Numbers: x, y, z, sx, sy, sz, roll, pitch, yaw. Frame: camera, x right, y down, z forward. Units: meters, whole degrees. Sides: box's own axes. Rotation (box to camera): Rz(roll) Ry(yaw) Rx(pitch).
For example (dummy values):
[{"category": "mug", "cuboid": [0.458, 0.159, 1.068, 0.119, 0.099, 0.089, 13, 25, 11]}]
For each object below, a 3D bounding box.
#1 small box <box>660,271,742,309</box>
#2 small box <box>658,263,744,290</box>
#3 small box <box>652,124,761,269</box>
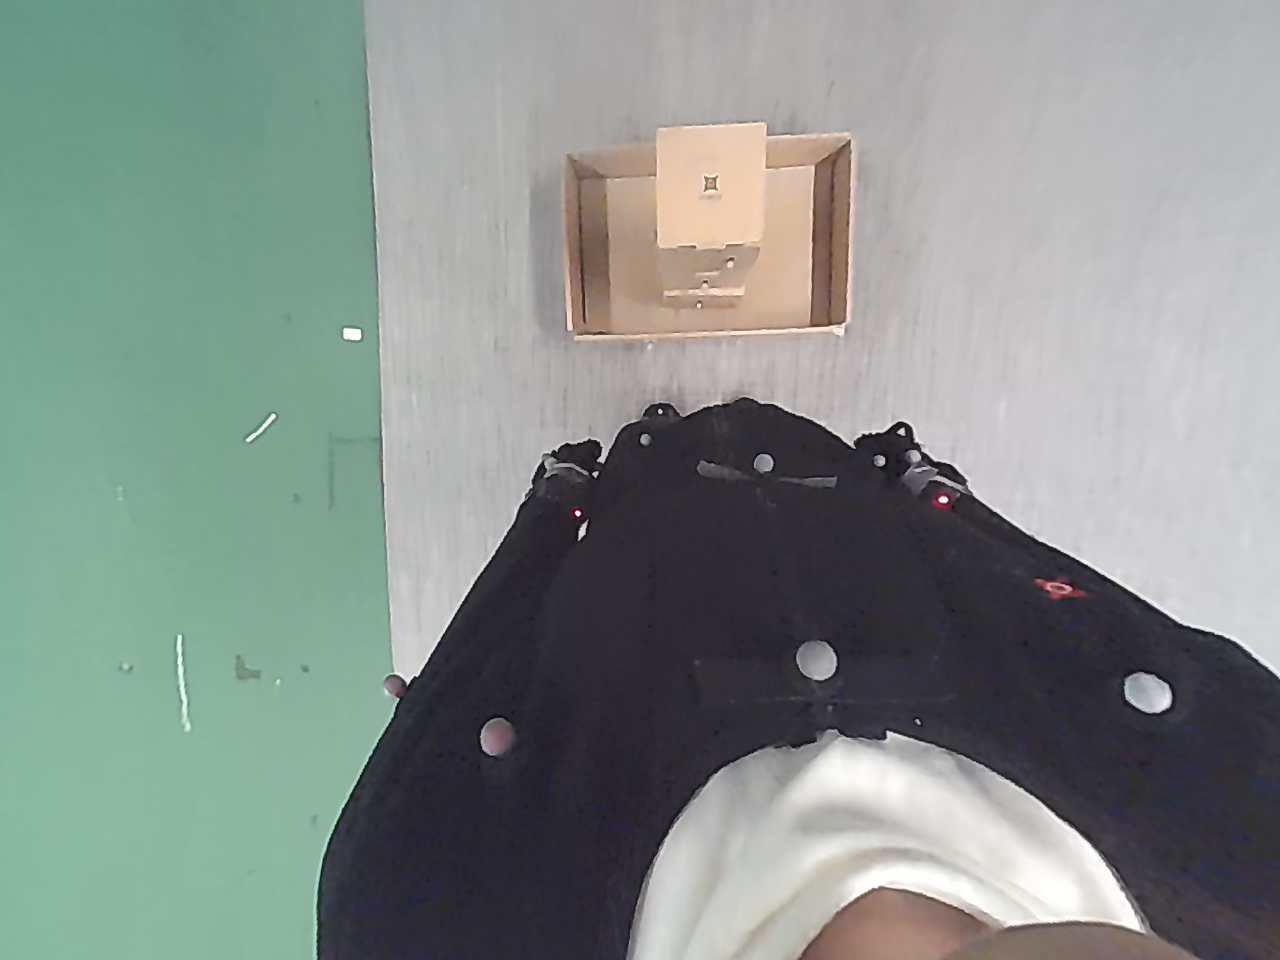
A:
[{"category": "small box", "cuboid": [0.139, -0.494, 1.243, 0.179, 0.176, 0.168, 3, 98, 5]}, {"category": "small box", "cuboid": [0.120, -0.487, 1.083, 0.168, 0.176, 0.179, -3, 98, 6]}, {"category": "small box", "cuboid": [0.106, -0.459, 0.904, 0.168, 0.176, 0.179, 0, 97, 3]}]
